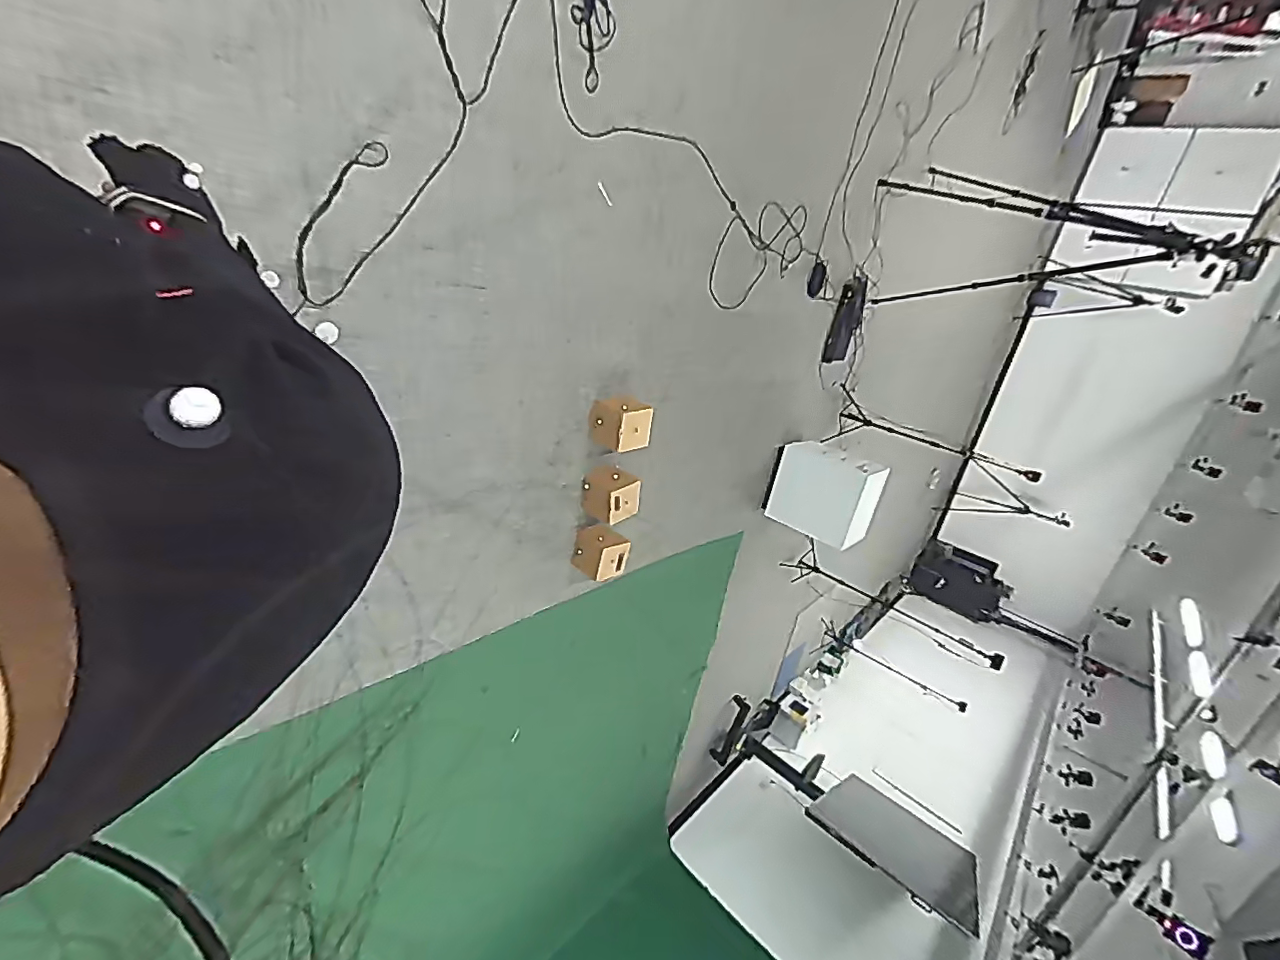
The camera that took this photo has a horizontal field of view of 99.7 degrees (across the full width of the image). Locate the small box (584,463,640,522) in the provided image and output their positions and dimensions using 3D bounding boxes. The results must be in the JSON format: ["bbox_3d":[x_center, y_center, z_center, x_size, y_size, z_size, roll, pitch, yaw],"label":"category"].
[{"bbox_3d":[-0.122,0.049,2.287,0.179,0.176,0.168,-23,130,-42],"label":"small box"}]

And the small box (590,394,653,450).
[{"bbox_3d":[-0.075,-0.238,2.158,0.179,0.176,0.168,-17,125,-43],"label":"small box"}]
